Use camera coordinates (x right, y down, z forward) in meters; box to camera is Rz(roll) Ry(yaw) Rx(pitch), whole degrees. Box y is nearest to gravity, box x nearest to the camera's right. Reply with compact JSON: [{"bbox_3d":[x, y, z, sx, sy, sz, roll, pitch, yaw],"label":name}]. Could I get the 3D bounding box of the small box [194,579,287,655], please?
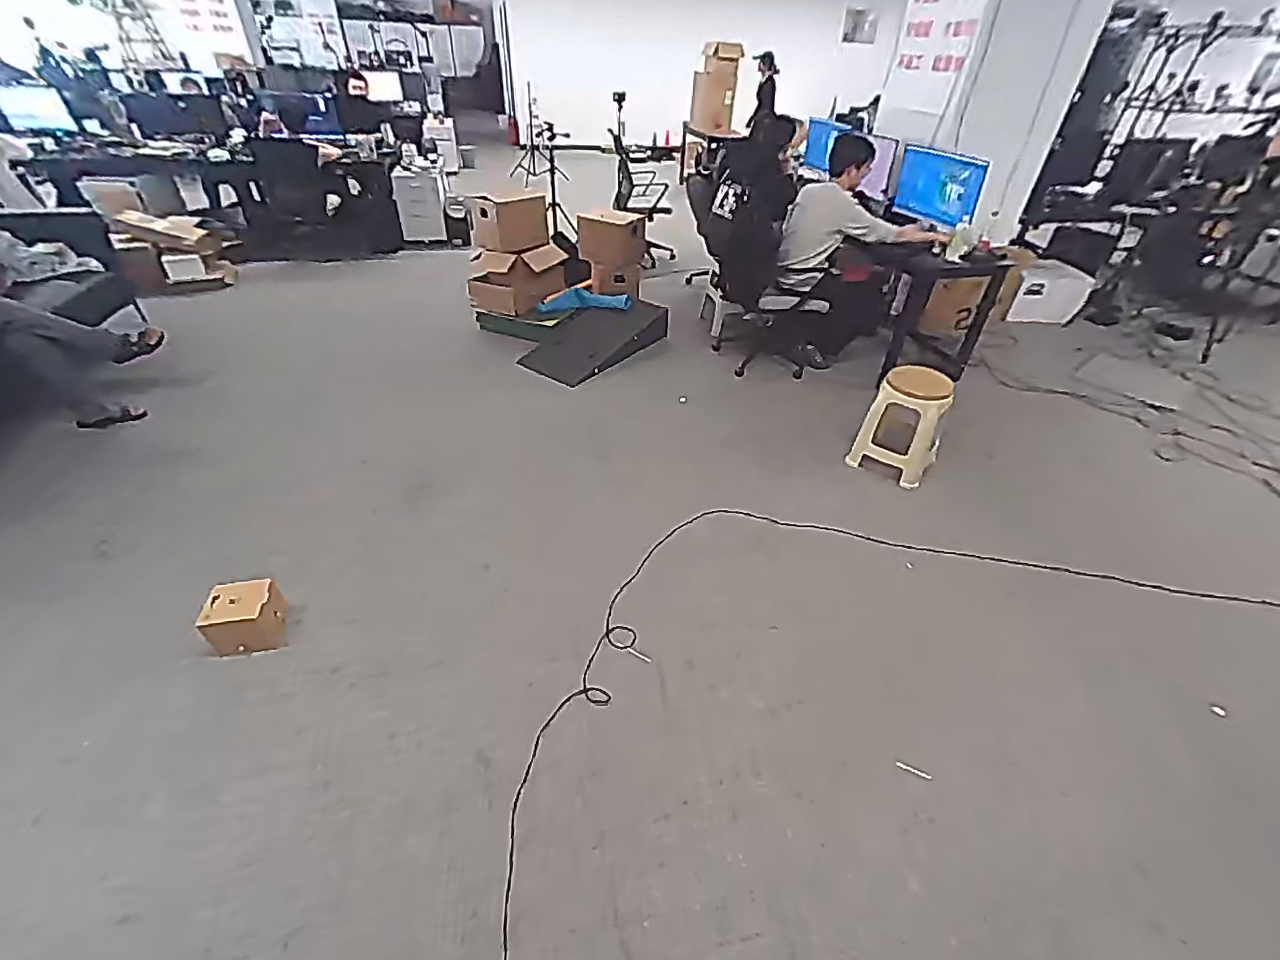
[{"bbox_3d":[-1.298,0.449,1.774,0.179,0.176,0.168,-5,38,-11],"label":"small box"}]
